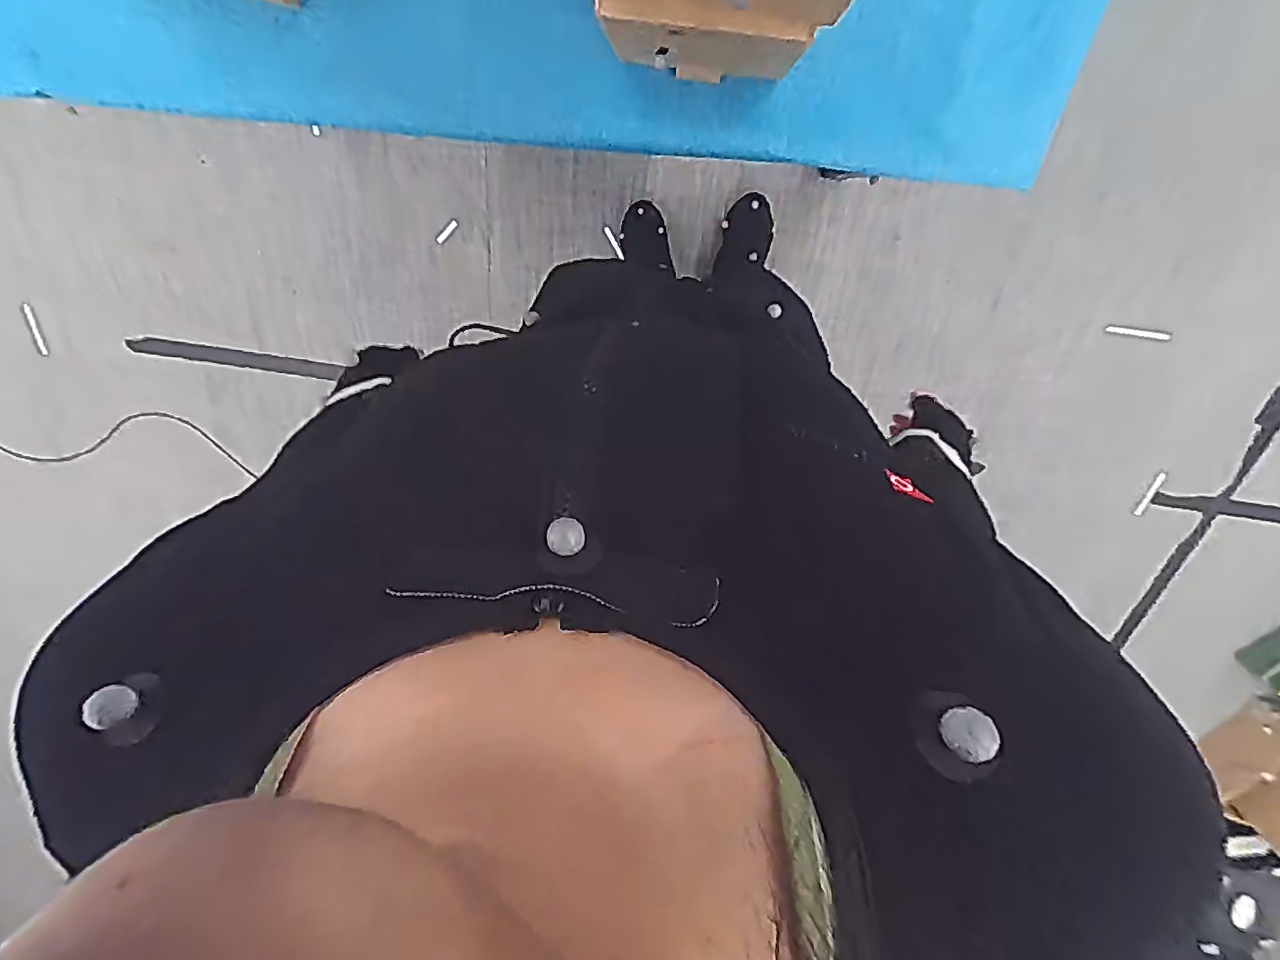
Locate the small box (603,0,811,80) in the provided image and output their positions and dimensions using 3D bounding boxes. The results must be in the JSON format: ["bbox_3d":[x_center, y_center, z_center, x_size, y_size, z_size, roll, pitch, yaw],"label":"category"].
[{"bbox_3d":[0.063,-0.450,0.433,0.168,0.176,0.179,7,118,0],"label":"small box"}]

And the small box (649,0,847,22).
[{"bbox_3d":[0.059,-0.378,0.285,0.179,0.176,0.168,10,117,2],"label":"small box"}]
